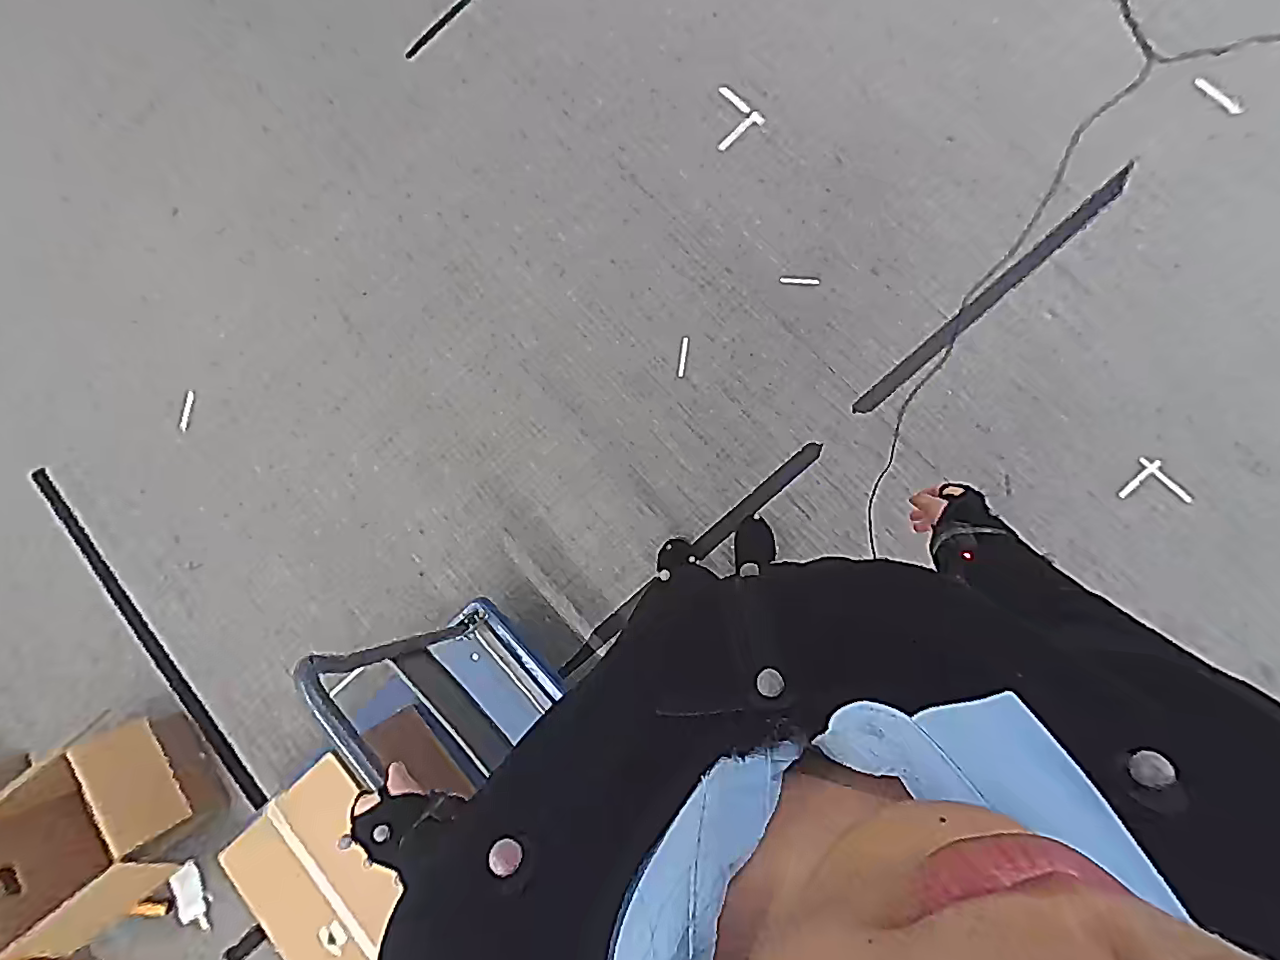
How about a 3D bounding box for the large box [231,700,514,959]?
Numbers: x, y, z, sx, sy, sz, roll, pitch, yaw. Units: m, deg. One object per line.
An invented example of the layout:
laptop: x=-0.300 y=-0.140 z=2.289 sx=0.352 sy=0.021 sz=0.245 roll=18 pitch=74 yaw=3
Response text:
large box: x=-0.559 y=0.778 z=1.195 sx=0.320 sy=0.320 sz=0.408 roll=-44 pitch=82 yaw=1
